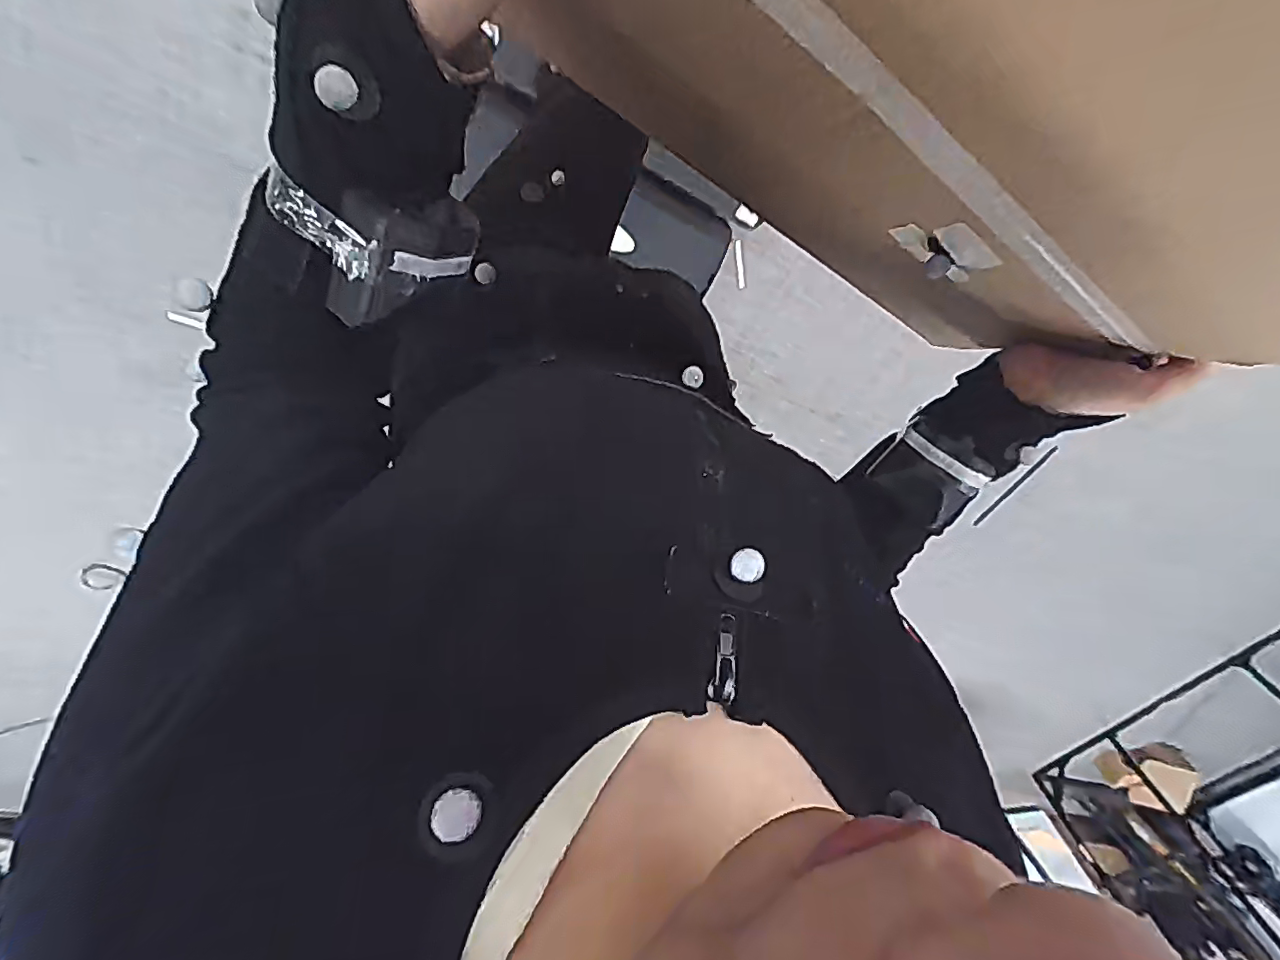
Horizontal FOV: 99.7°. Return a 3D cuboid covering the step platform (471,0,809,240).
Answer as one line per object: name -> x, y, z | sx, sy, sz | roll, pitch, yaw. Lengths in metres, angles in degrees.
step platform -> 0.047, -0.756, 1.007 | 0.684, 0.204, 0.286 | 24, 120, -26
